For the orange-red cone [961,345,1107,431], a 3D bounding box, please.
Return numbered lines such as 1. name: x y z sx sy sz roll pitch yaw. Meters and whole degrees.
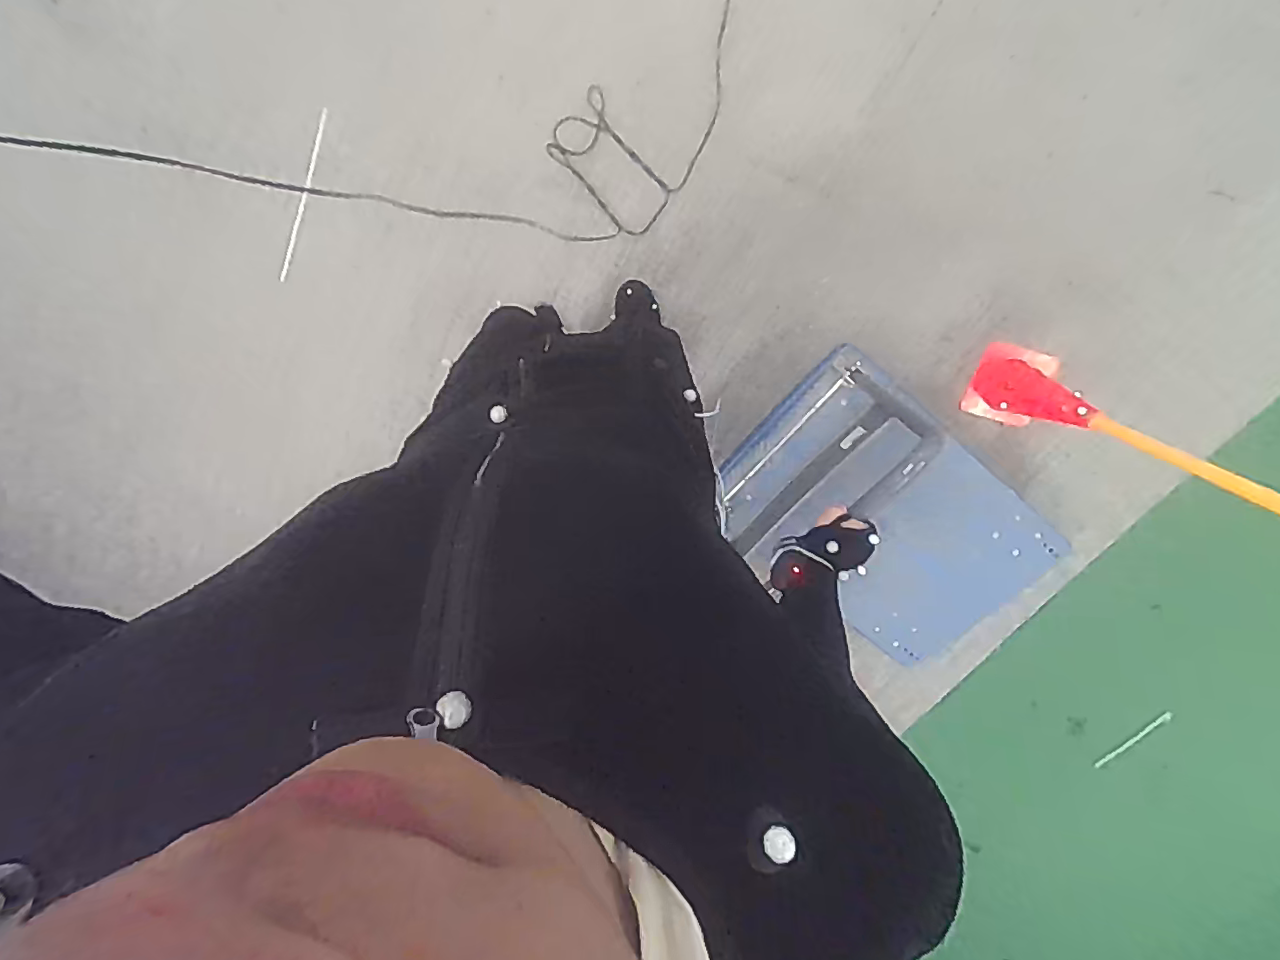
1. orange-red cone: 0.995 -0.189 1.320 0.198 0.360 0.199 16 112 -2
